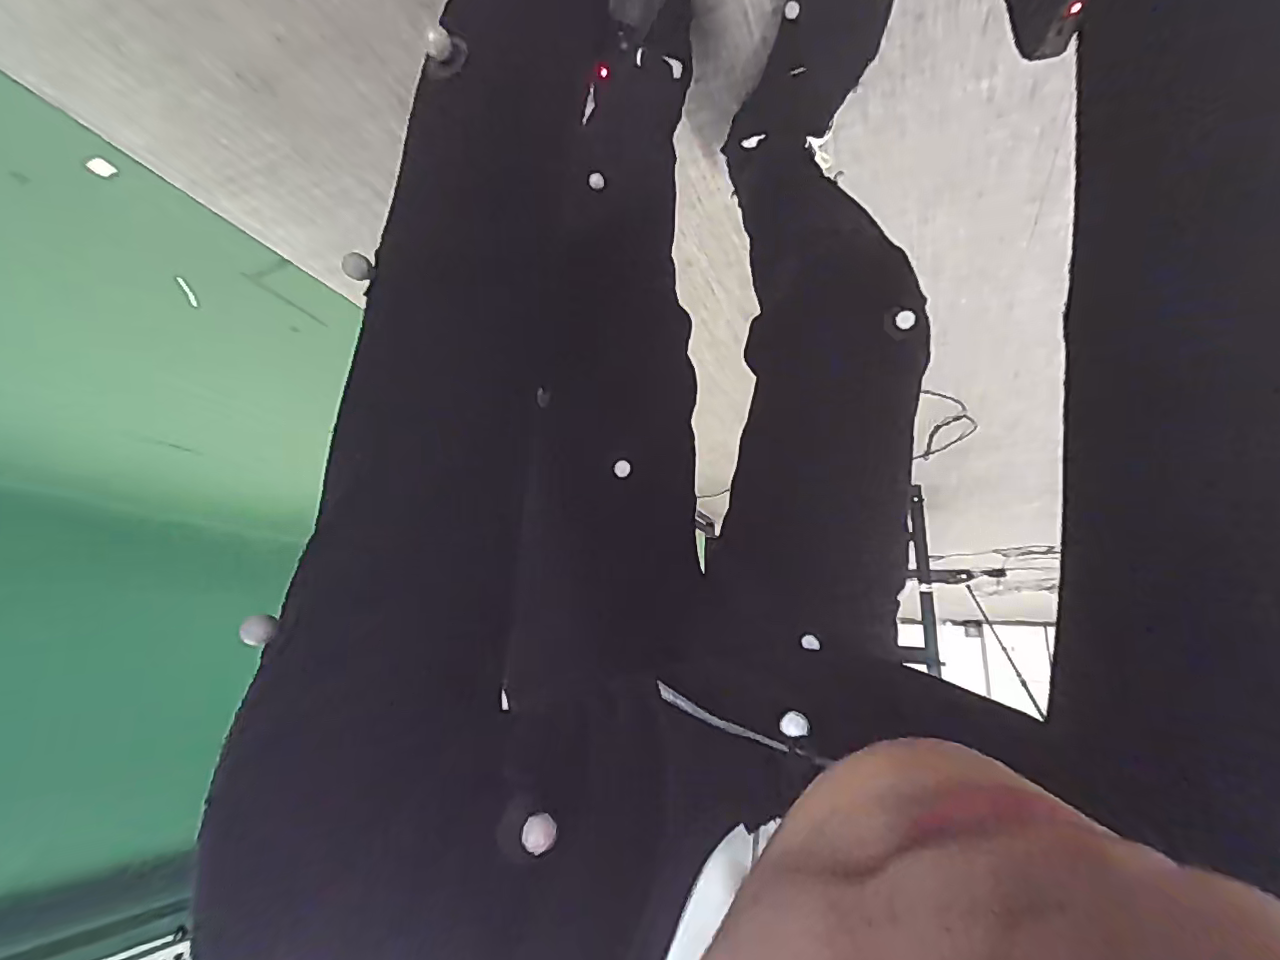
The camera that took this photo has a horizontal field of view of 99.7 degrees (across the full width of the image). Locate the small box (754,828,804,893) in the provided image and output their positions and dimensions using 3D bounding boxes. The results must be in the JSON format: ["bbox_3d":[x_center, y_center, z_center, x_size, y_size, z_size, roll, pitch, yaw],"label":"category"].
[{"bbox_3d":[0.578,1.564,2.237,0.179,0.176,0.168,-6,162,25],"label":"small box"}]
